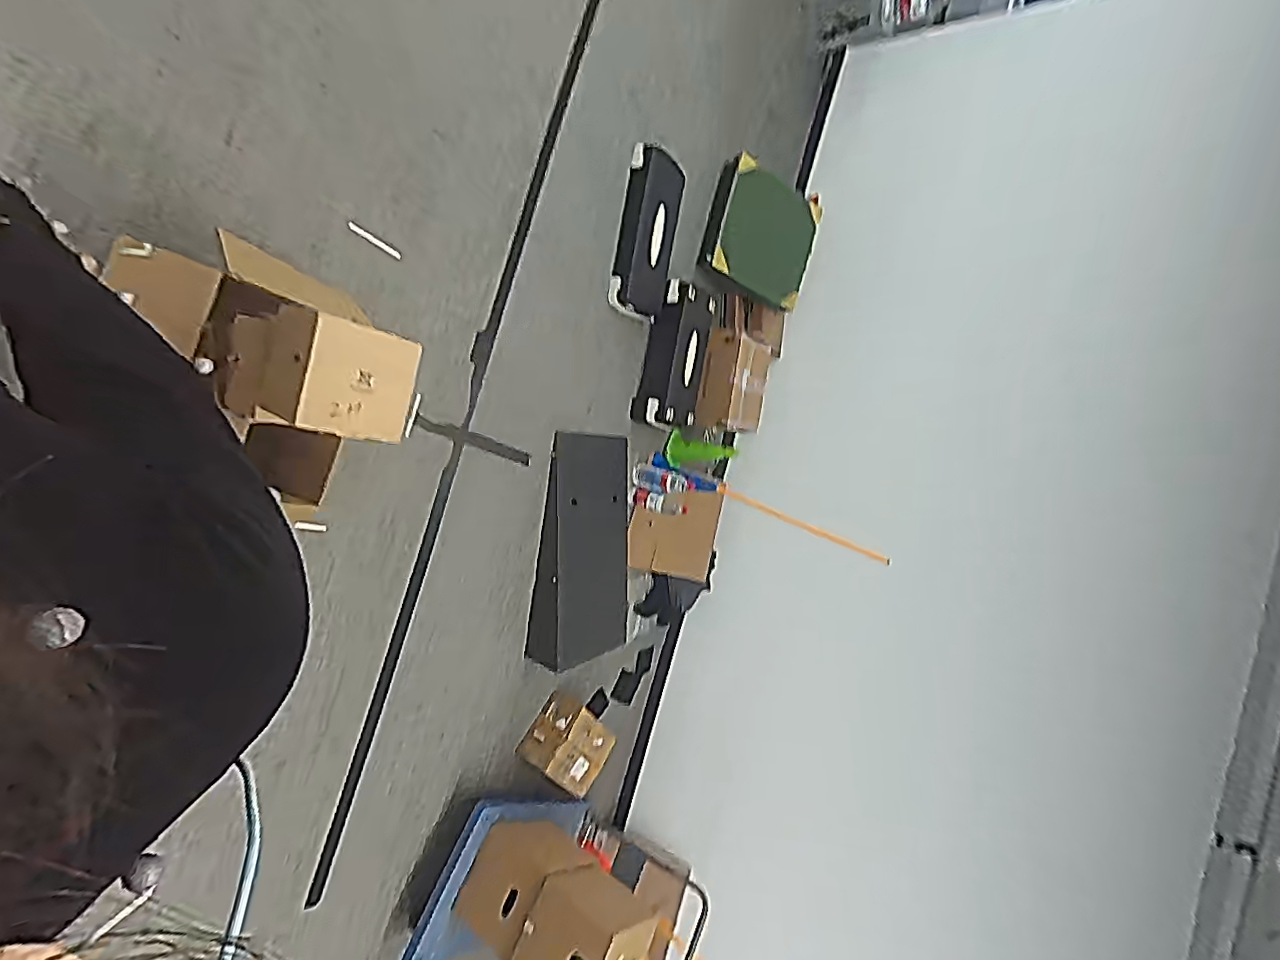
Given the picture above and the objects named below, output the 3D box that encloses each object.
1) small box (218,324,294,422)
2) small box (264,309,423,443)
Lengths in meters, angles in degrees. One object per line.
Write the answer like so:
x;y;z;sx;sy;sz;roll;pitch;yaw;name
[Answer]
-0.747;-0.224;1.117;0.168;0.176;0.179;-12;114;-50;small box
-0.498;-0.175;0.904;0.168;0.176;0.179;10;97;-52;small box
